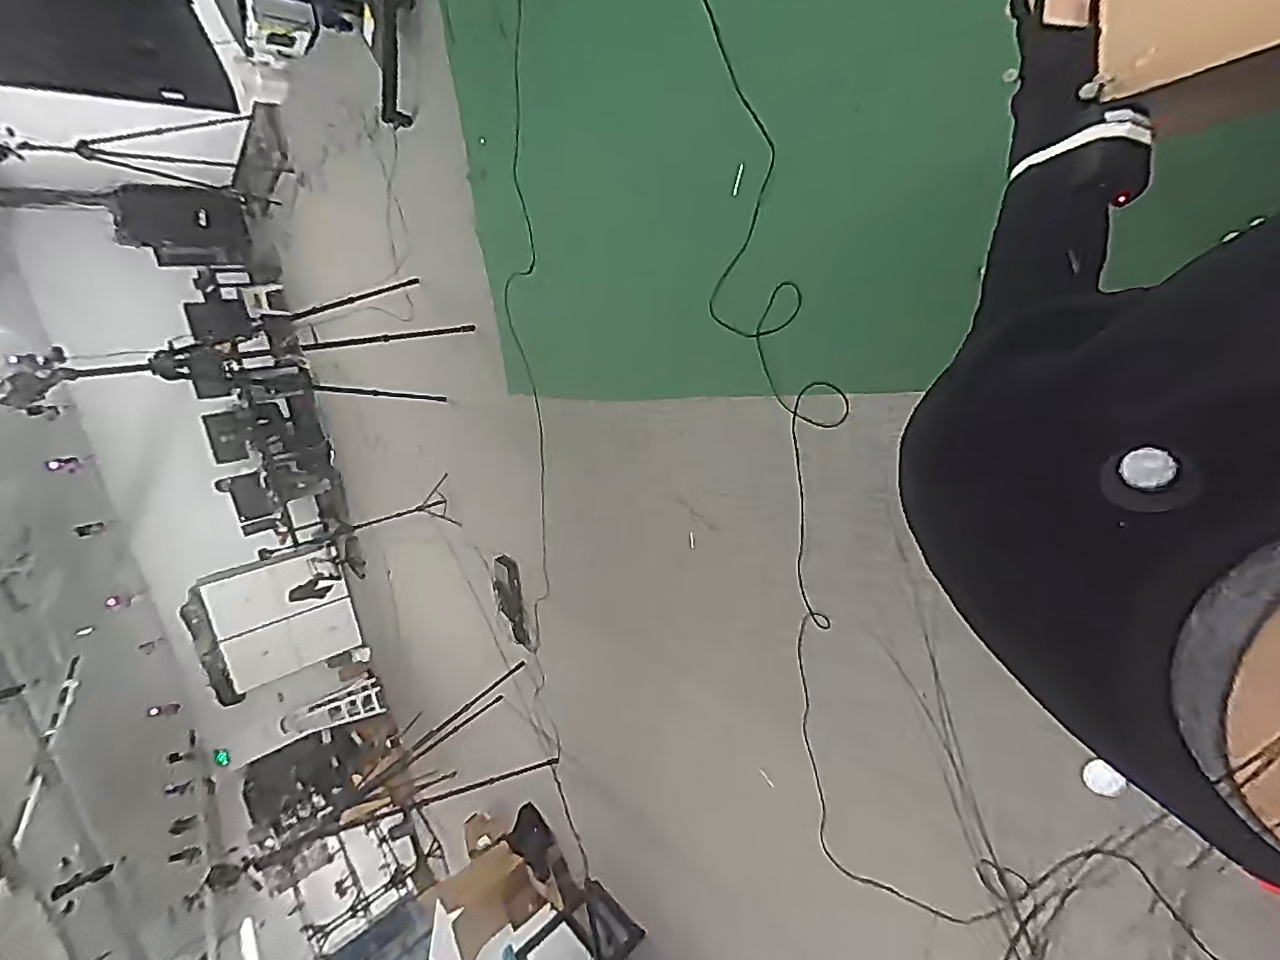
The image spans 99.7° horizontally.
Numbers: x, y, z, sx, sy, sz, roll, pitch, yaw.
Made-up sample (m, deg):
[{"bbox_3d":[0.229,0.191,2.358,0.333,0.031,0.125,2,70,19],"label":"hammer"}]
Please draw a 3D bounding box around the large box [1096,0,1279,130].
[{"bbox_3d":[0.583,-0.485,0.349,0.408,0.320,0.320,6,111,47],"label":"large box"}]
